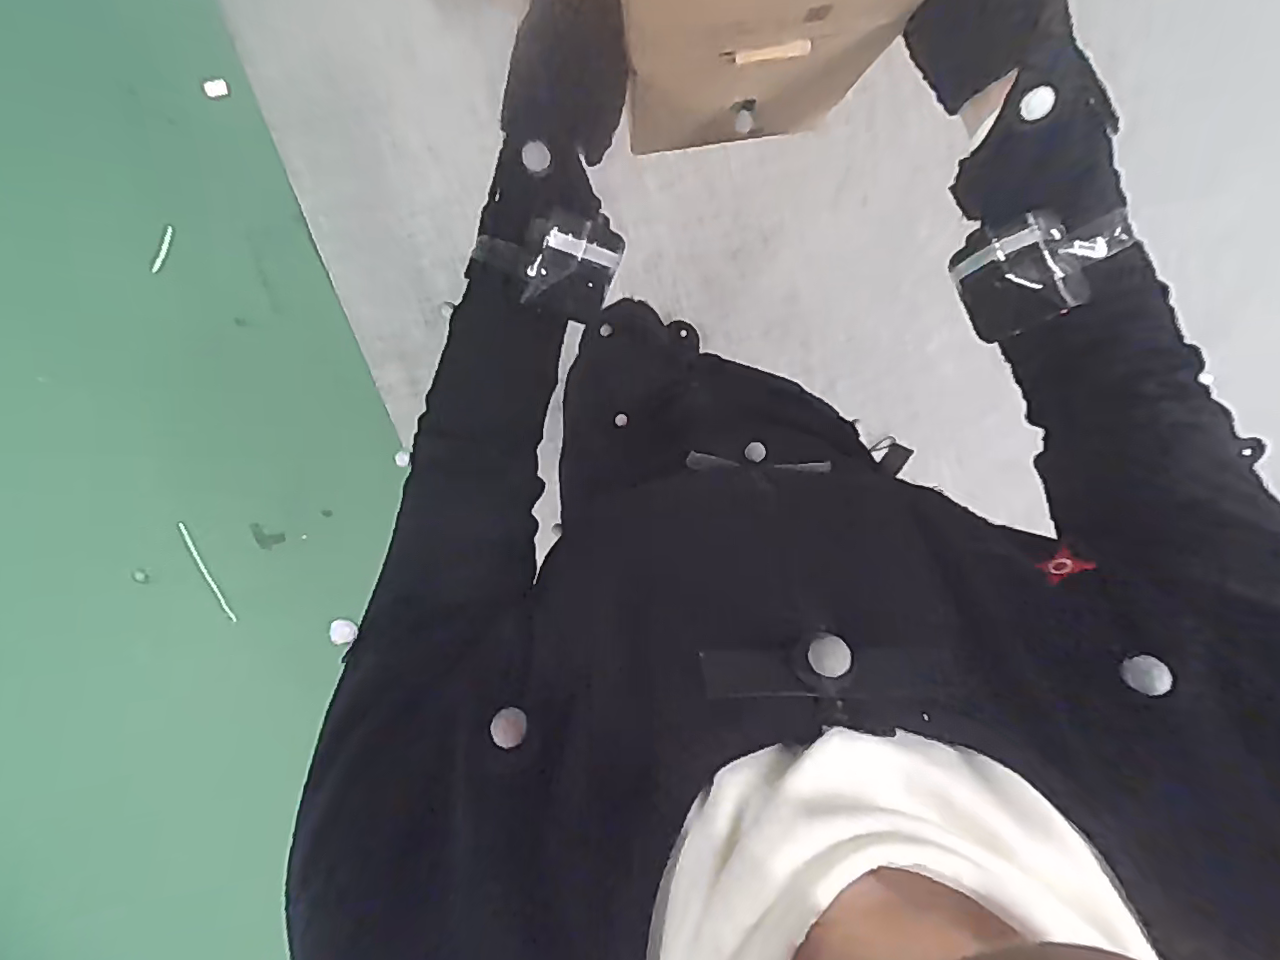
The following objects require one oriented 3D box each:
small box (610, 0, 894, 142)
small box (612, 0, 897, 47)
[{"bbox_3d":[0.061,-0.361,0.380,0.168,0.176,0.179,-8,106,1],"label":"small box"},{"bbox_3d":[0.059,-0.319,0.222,0.168,0.176,0.179,-9,104,0],"label":"small box"}]
